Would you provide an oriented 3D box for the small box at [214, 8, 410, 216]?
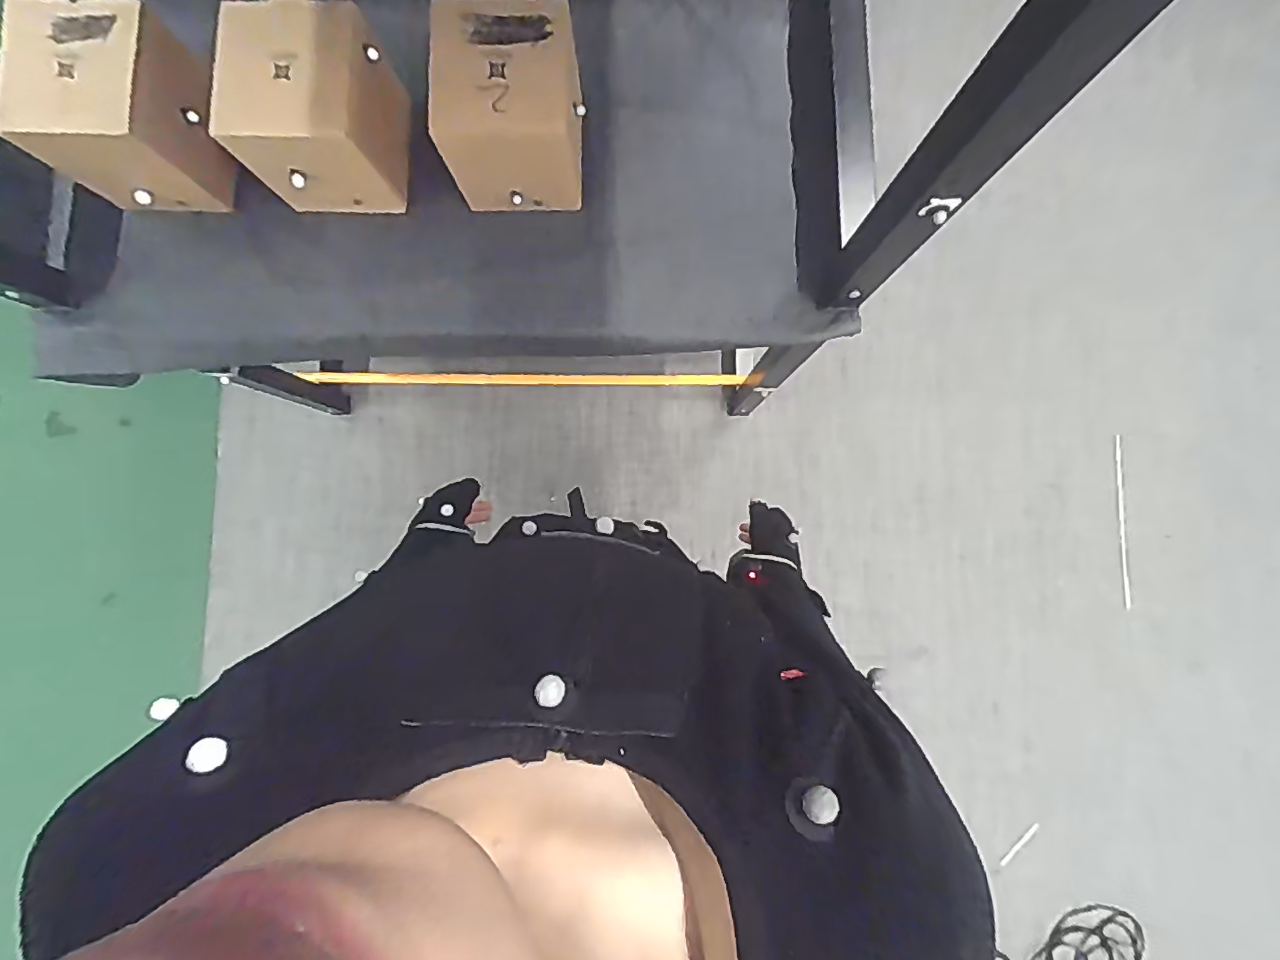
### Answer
[{"bbox_3d":[-0.429,-0.483,0.733,0.168,0.176,0.179,1,85,0],"label":"small box"}]

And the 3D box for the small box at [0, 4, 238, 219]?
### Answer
[{"bbox_3d":[-0.682,-0.484,0.730,0.168,0.176,0.179,1,86,0],"label":"small box"}]
